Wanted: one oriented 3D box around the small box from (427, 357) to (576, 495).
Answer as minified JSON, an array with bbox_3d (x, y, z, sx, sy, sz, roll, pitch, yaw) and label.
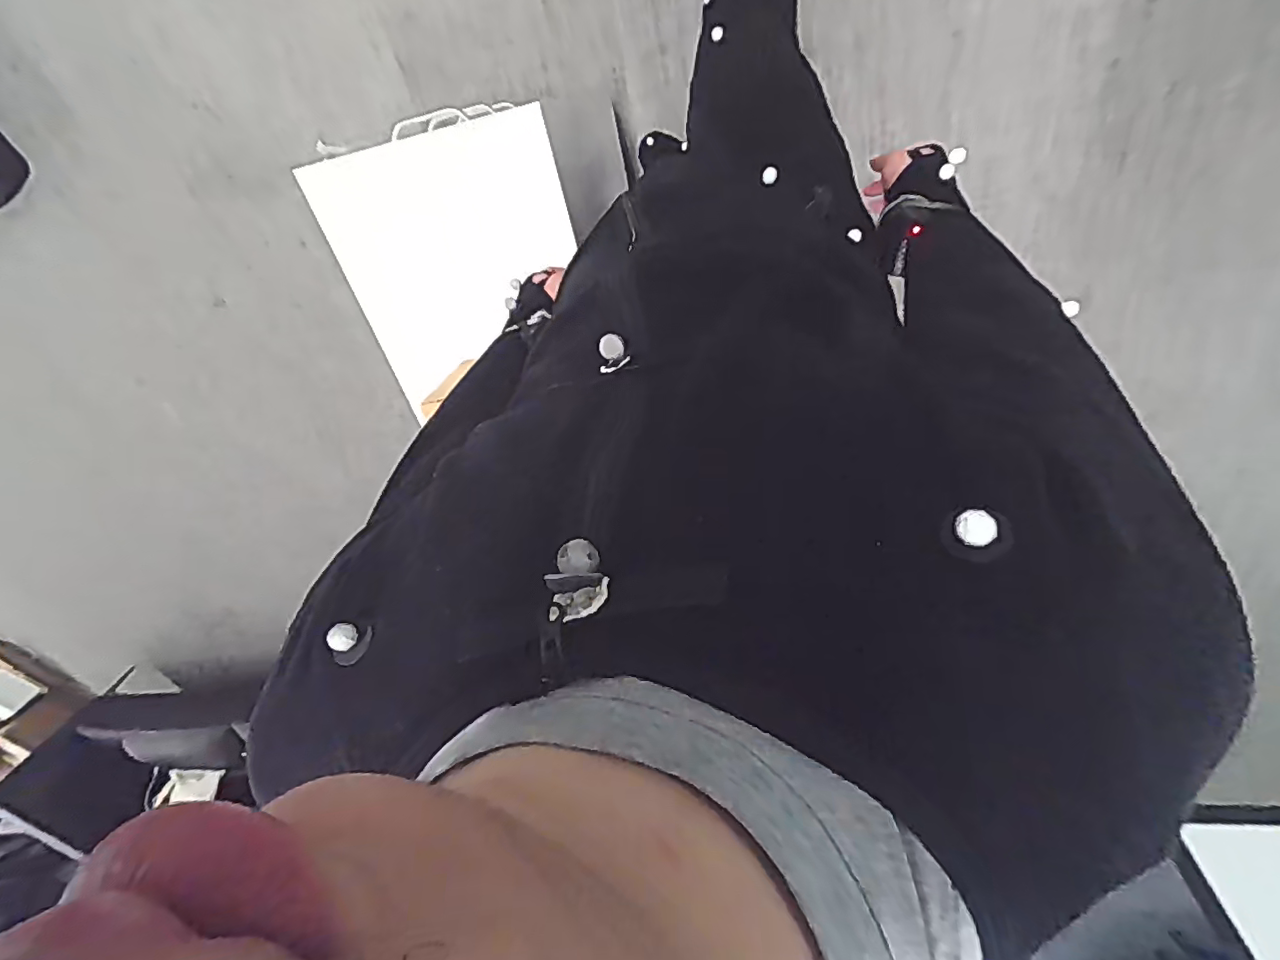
[{"bbox_3d":[-0.222,-0.097,0.918,0.168,0.176,0.179,-5,124,14],"label":"small box"}]
